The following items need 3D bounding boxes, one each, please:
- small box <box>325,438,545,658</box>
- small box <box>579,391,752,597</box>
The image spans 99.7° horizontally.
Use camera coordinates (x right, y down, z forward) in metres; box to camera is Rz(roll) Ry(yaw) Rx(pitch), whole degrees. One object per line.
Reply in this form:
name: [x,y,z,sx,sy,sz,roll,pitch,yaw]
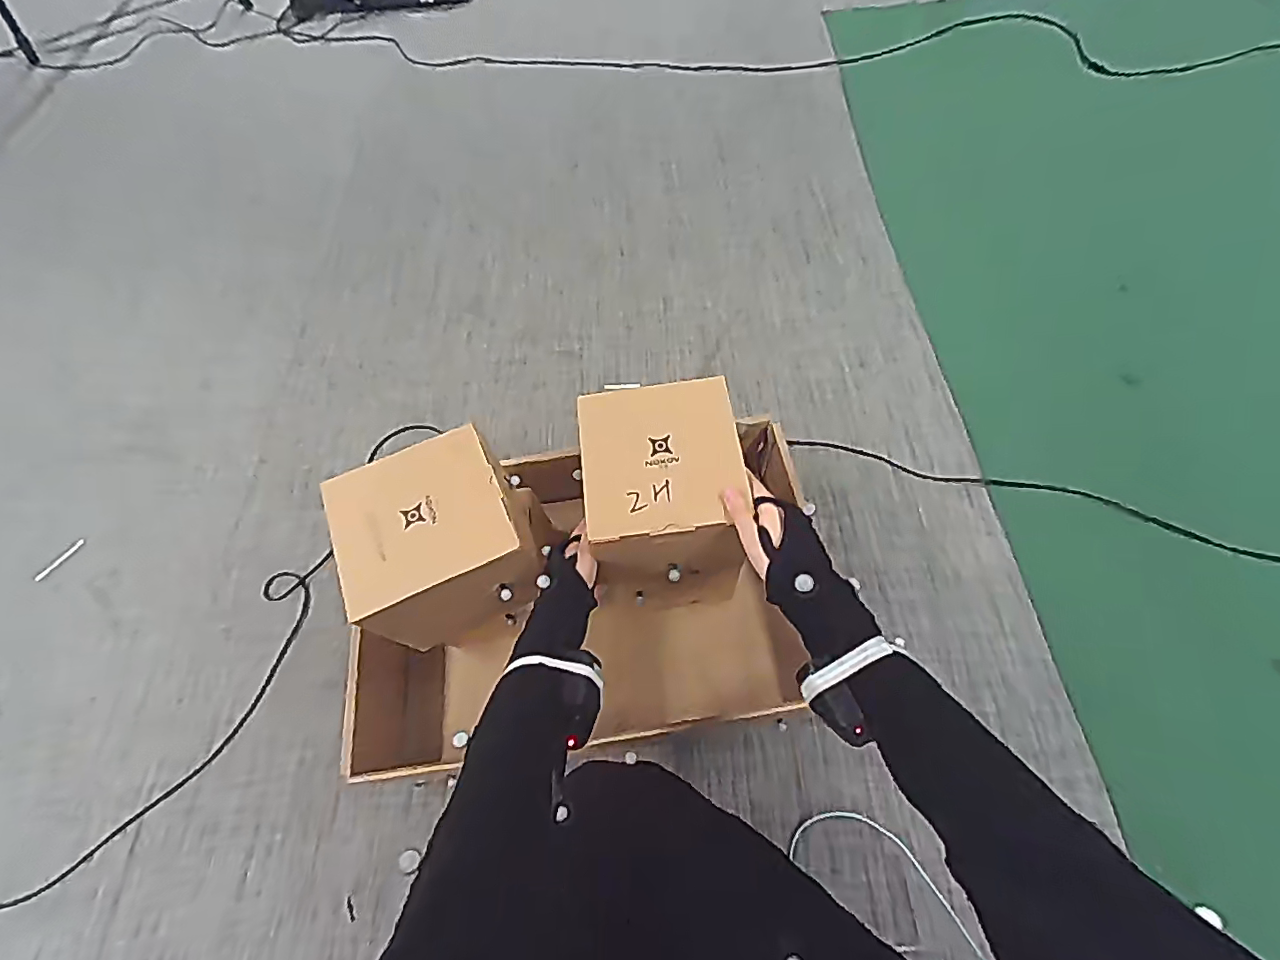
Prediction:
small box: [-0.222,0.085,0.625,0.179,0.176,0.168,-24,63,-7]
small box: [0.025,0.023,0.629,0.168,0.176,0.179,-8,63,2]
